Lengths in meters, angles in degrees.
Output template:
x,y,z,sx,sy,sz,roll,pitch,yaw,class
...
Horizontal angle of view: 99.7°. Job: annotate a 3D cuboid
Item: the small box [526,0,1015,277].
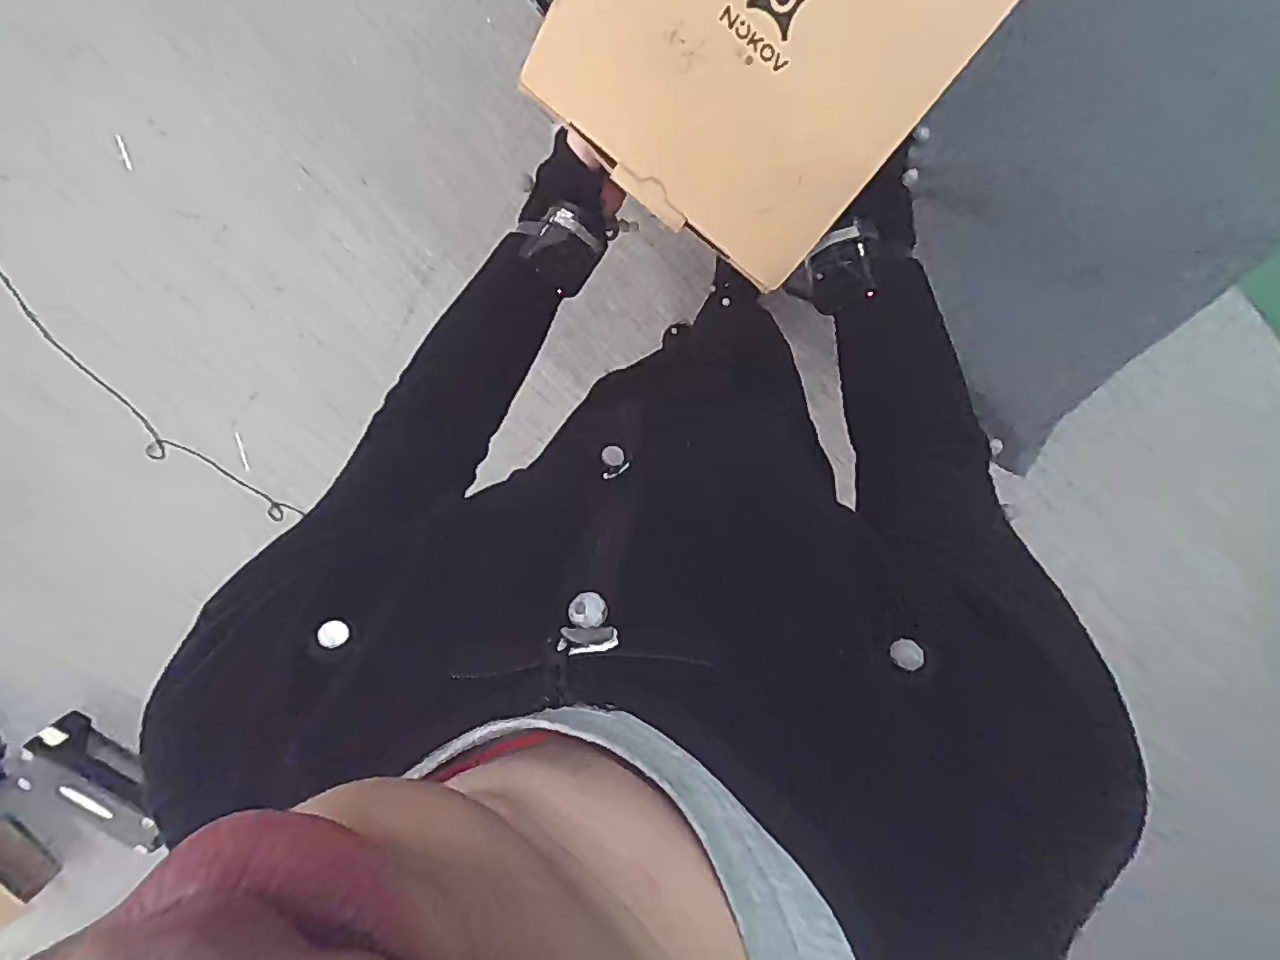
x,y,z,sx,sy,sz,roll,pitch,yaw,class
0.069,-0.249,0.304,0.168,0.176,0.179,35,118,-12,small box
